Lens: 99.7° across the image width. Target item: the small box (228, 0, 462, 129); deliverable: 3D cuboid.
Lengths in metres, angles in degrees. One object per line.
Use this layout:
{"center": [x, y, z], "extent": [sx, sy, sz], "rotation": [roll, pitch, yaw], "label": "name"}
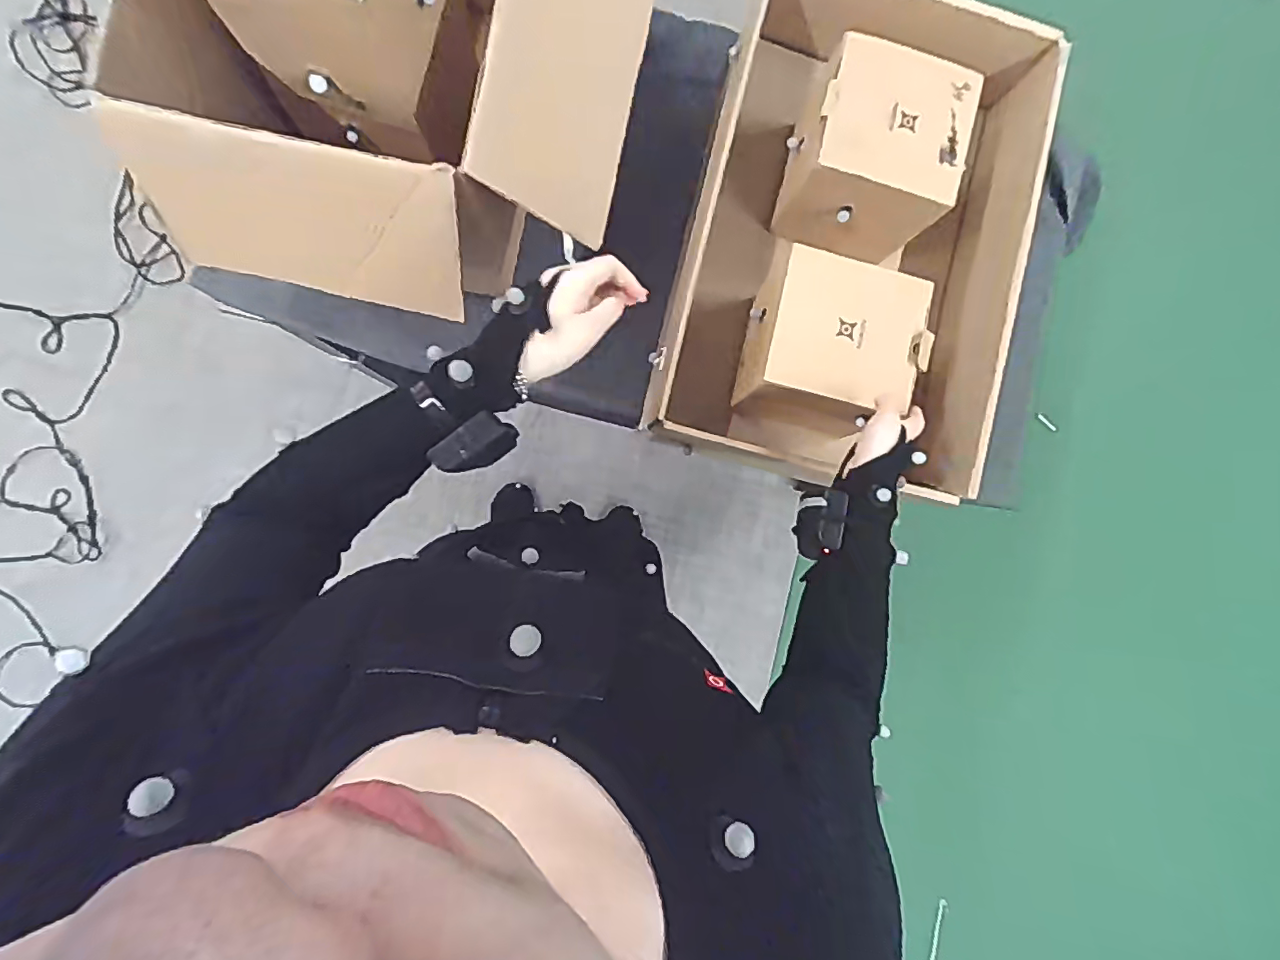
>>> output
{"center": [-0.282, -0.489, 0.513], "extent": [0.168, 0.176, 0.179], "rotation": [16, 89, -6], "label": "small box"}
